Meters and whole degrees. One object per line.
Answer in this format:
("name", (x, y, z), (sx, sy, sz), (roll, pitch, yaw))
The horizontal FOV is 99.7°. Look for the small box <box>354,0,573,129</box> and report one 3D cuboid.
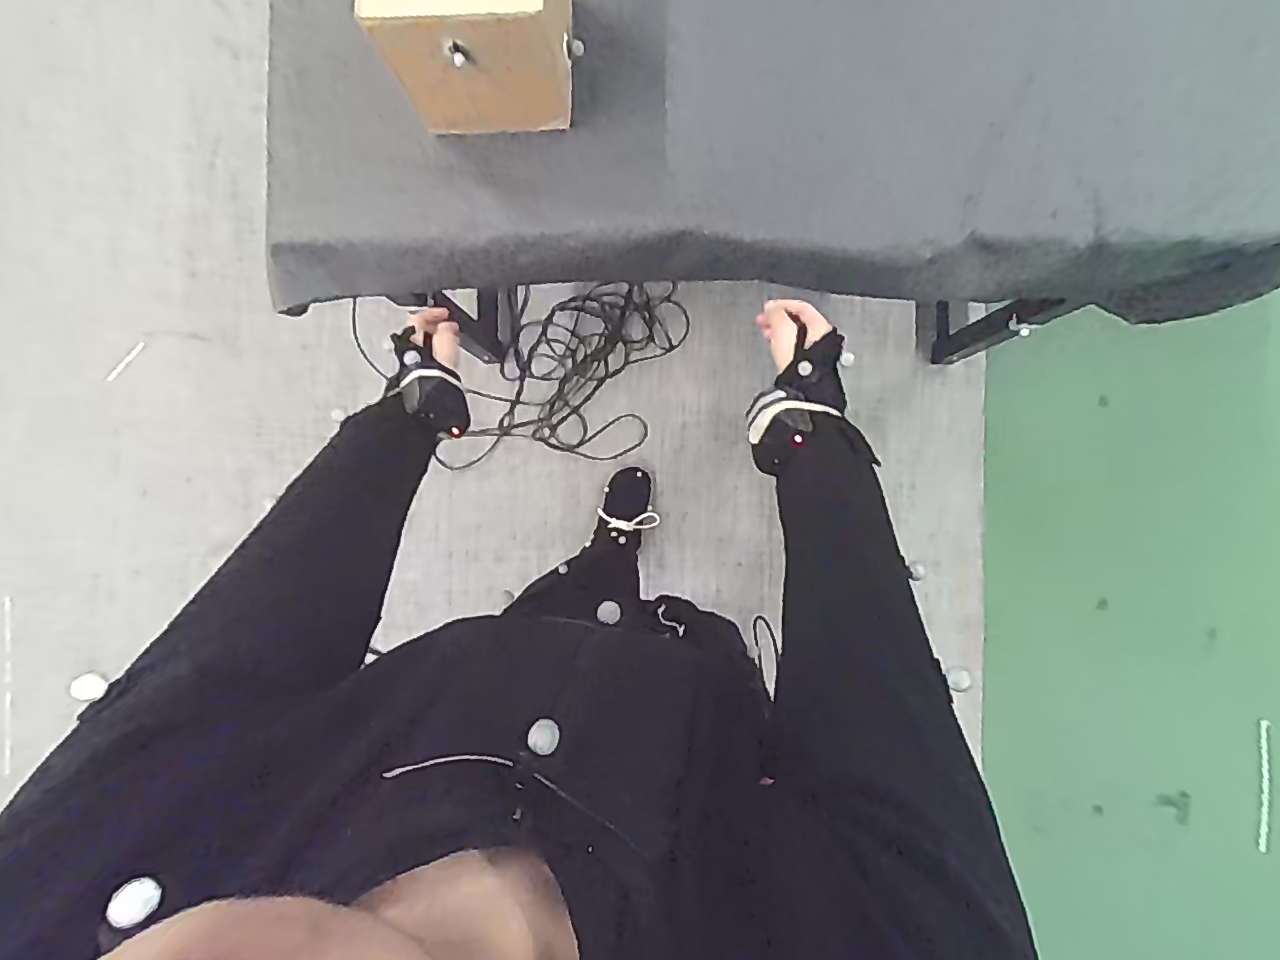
("small box", (-0.171, -0.501, 0.568), (0.179, 0.176, 0.168), (0, 90, 1))
